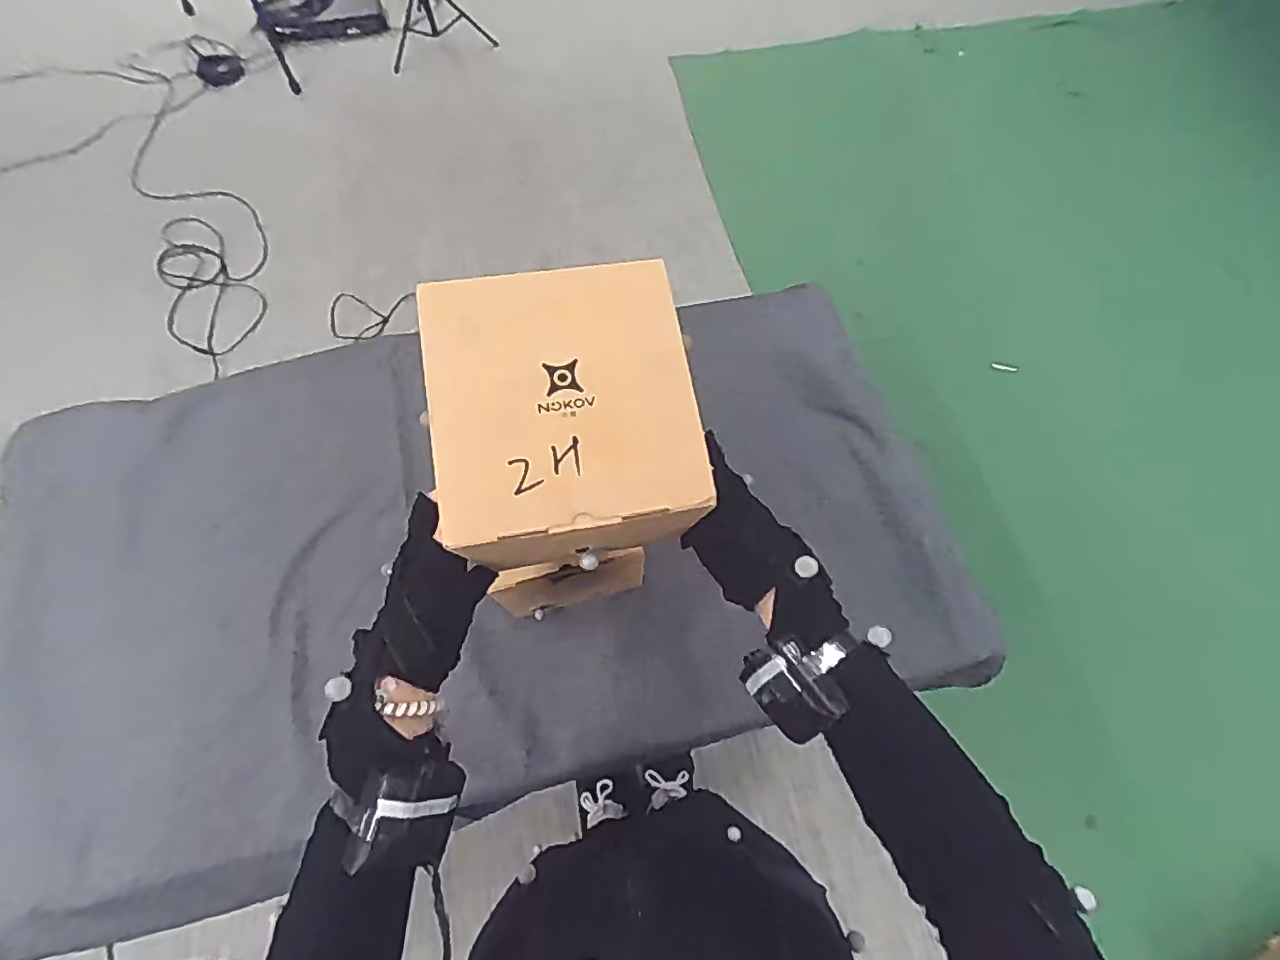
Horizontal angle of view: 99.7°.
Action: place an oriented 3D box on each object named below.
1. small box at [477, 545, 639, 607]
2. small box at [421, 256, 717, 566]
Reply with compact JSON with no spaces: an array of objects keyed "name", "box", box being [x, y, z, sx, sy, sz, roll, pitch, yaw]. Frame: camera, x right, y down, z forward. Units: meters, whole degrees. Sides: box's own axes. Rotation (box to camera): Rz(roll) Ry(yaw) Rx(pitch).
[{"name":"small box","box":[-0.099,0.046,0.652,0.168,0.176,0.179,-14,67,-6]},{"name":"small box","box":[-0.054,-0.038,0.413,0.168,0.176,0.179,-9,78,-7]}]
